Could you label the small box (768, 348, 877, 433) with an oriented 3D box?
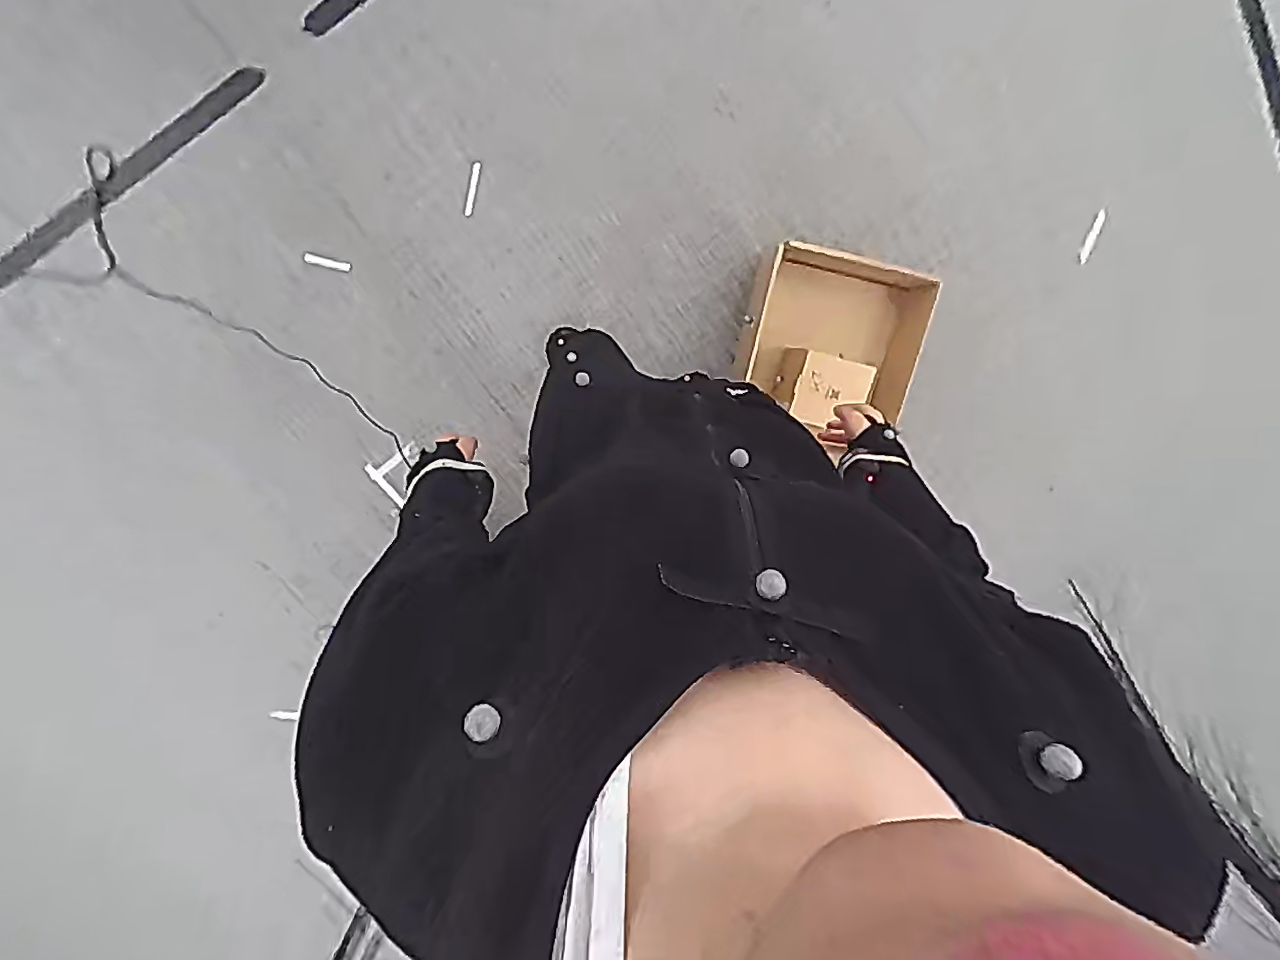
[{"bbox_3d":[0.444,-0.228,1.343,0.179,0.176,0.168,14,103,-7],"label":"small box"}]
